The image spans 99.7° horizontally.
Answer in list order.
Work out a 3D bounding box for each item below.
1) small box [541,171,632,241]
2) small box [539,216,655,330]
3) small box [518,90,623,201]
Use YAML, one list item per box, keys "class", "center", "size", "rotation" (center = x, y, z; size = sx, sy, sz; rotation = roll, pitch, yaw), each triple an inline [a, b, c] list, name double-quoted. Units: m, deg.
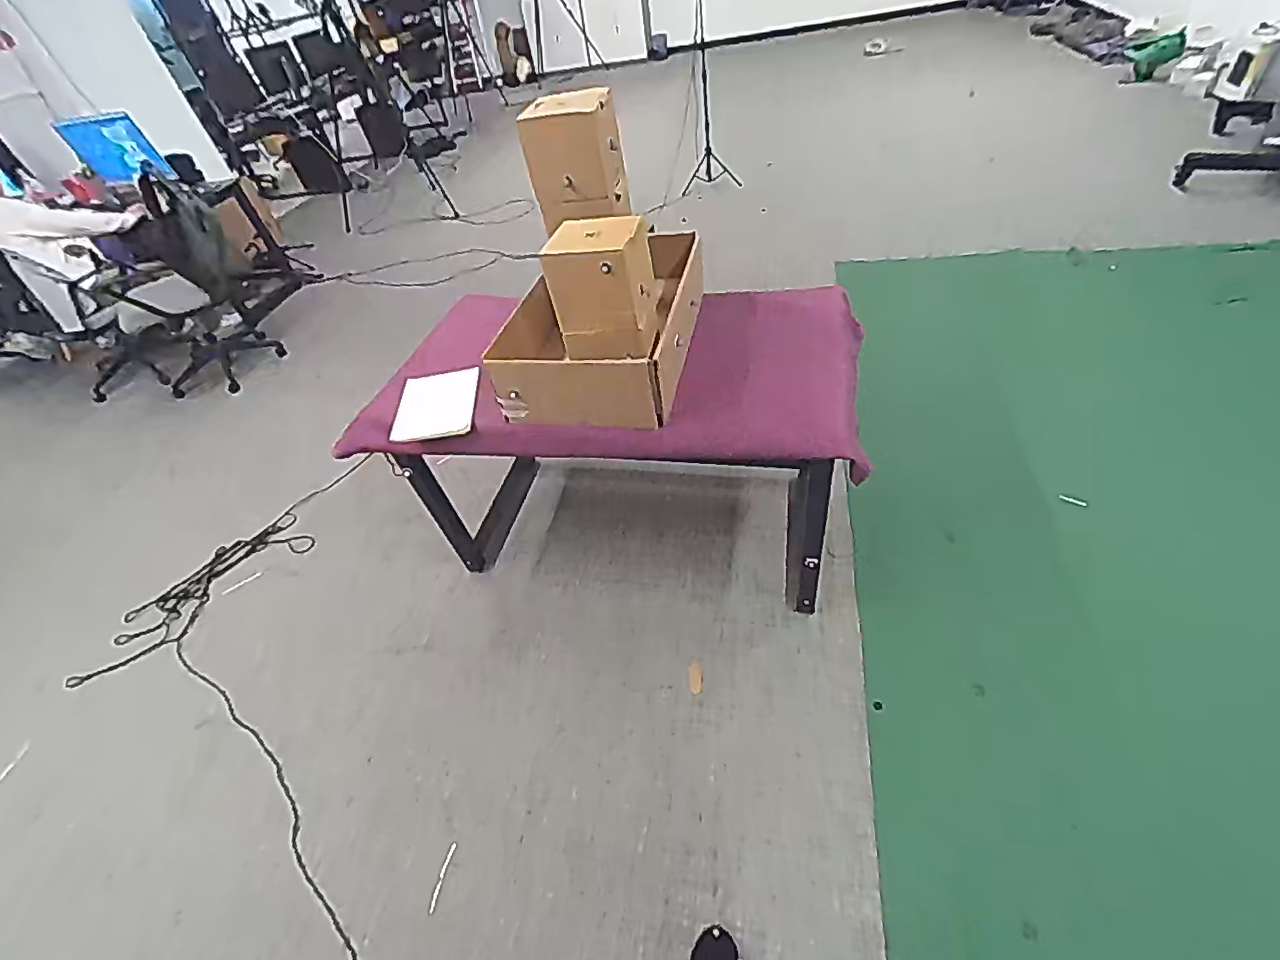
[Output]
- class: "small box"
  center: [-0.118, -0.630, 1.325]
  size: [0.179, 0.176, 0.168]
  rotation: [2, 48, 13]
- class: "small box"
  center: [-0.078, -0.420, 1.107]
  size: [0.179, 0.176, 0.168]
  rotation: [4, 46, 15]
- class: "small box"
  center: [-0.144, -0.744, 1.209]
  size: [0.179, 0.176, 0.168]
  rotation: [4, 48, 14]
